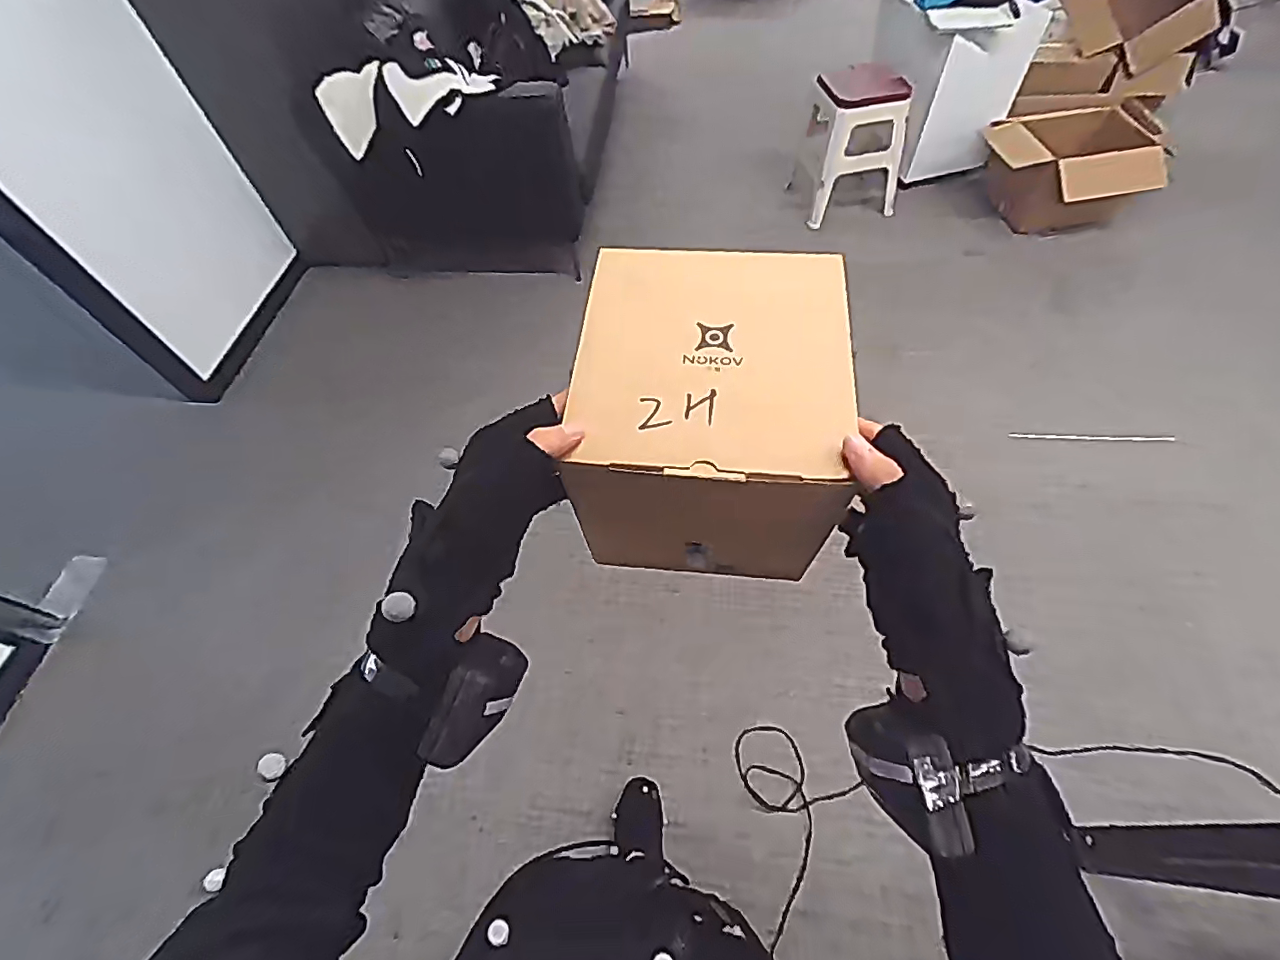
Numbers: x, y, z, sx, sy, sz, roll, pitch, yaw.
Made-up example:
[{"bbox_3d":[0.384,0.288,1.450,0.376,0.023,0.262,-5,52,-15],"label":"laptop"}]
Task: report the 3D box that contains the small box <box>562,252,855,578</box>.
[{"bbox_3d":[0.051,-0.043,0.408,0.168,0.176,0.179,4,61,7],"label":"small box"}]
